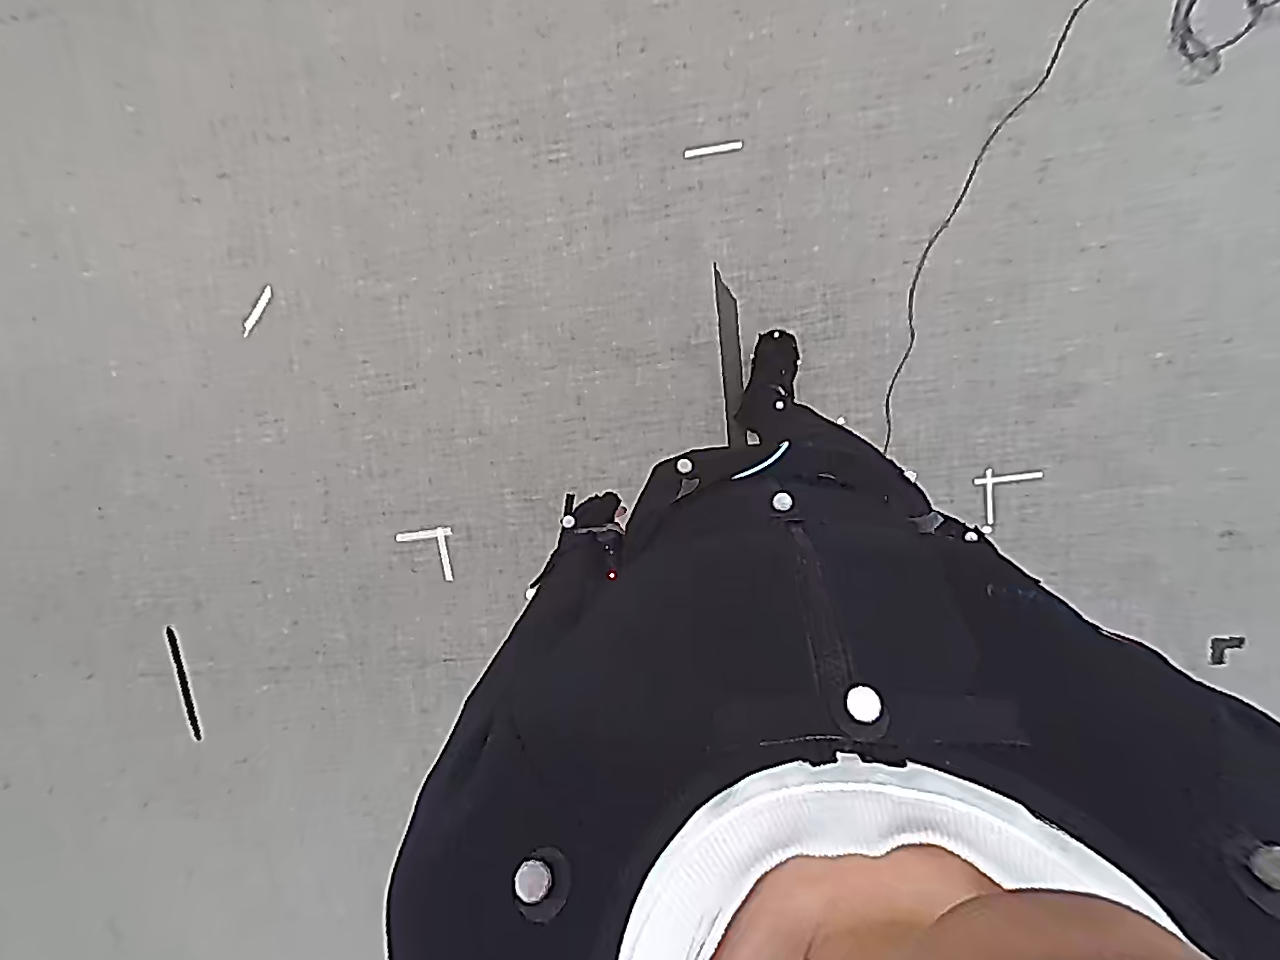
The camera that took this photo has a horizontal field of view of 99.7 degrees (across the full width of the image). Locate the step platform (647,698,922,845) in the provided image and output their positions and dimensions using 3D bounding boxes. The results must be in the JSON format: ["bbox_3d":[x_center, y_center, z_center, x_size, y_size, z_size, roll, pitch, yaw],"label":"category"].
[{"bbox_3d":[0.360,0.770,1.422,0.684,0.204,0.286,-7,97,10],"label":"step platform"}]
